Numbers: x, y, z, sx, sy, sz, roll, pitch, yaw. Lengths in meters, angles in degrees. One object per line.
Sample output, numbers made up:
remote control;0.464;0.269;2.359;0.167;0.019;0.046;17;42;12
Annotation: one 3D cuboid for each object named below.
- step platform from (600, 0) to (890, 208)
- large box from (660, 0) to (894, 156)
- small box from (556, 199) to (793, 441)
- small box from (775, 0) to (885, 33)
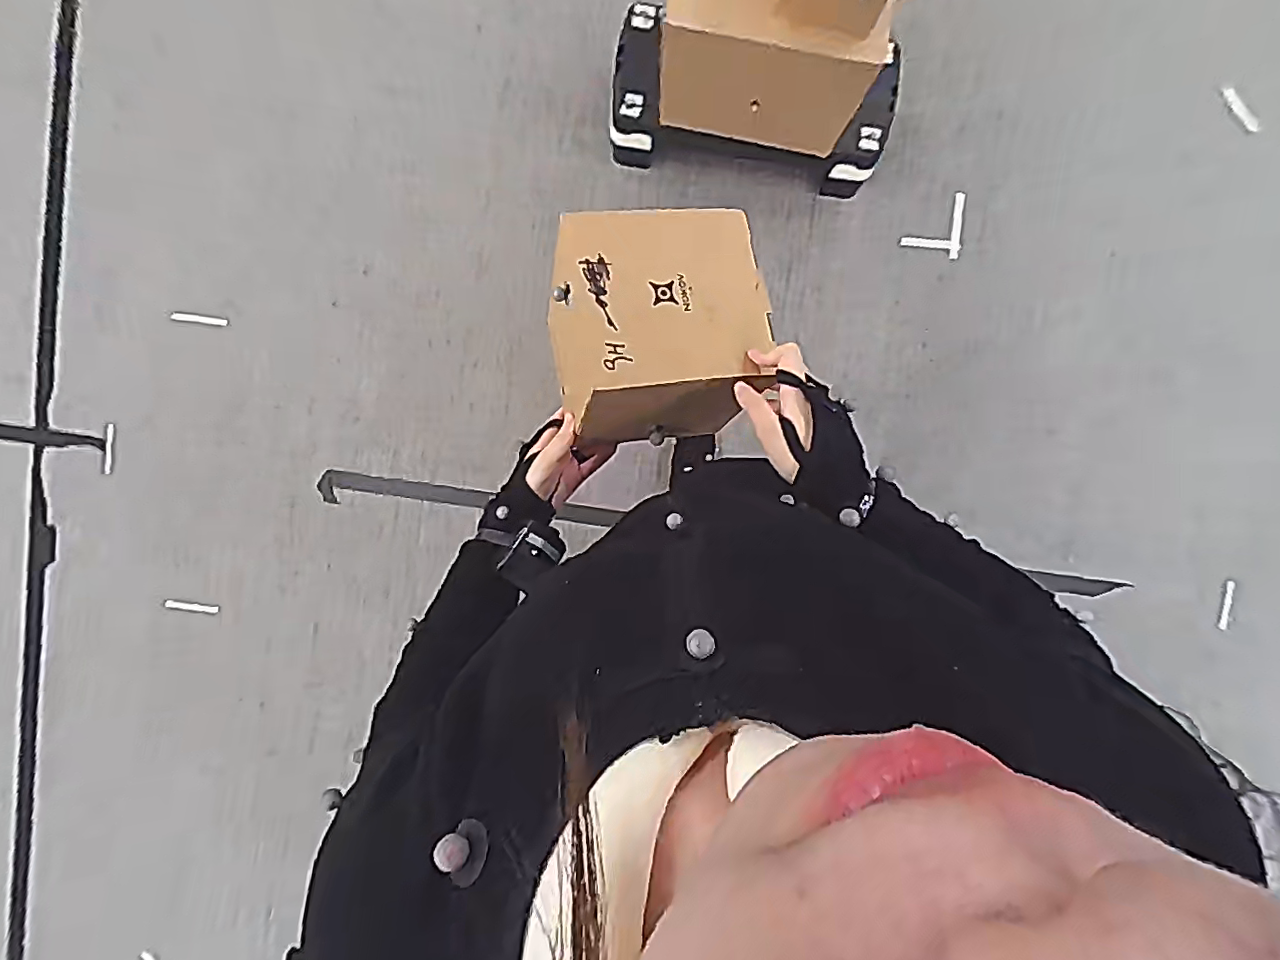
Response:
step platform;0.247;-0.925;1.343;0.684;0.204;0.286;13;93;1
large box;0.265;-0.921;1.104;0.408;0.320;0.320;11;92;1
small box;0.019;-0.145;0.535;0.179;0.176;0.168;-7;77;-15
small box;0.335;-0.867;0.860;0.179;0.176;0.168;15;94;1
